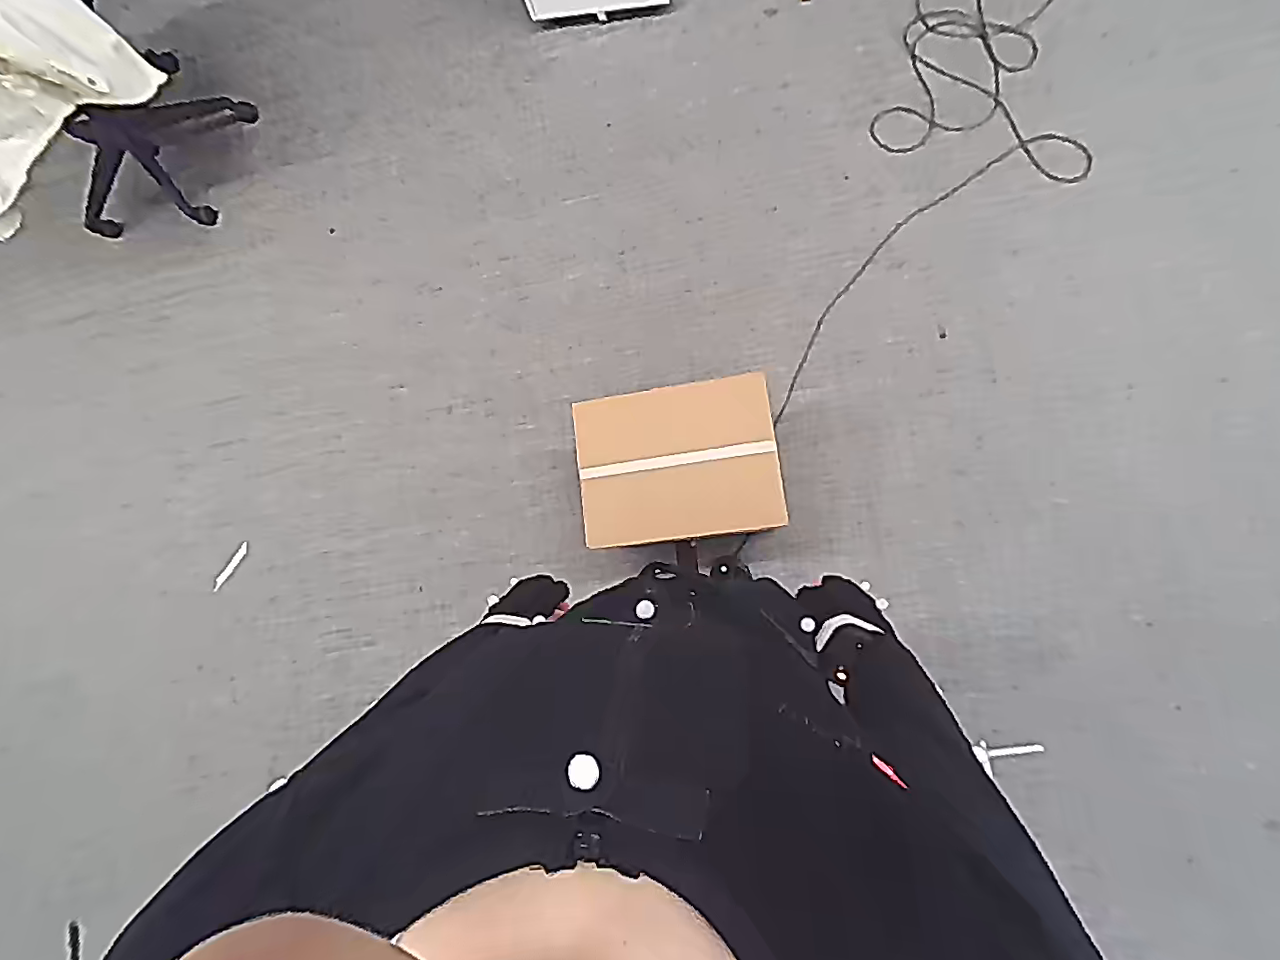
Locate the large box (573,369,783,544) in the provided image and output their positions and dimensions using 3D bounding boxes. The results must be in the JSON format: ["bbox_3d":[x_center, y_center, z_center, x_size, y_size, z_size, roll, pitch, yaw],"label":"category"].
[{"bbox_3d":[0.091,-0.030,1.250,0.408,0.320,0.320,-8,84,9],"label":"large box"}]
